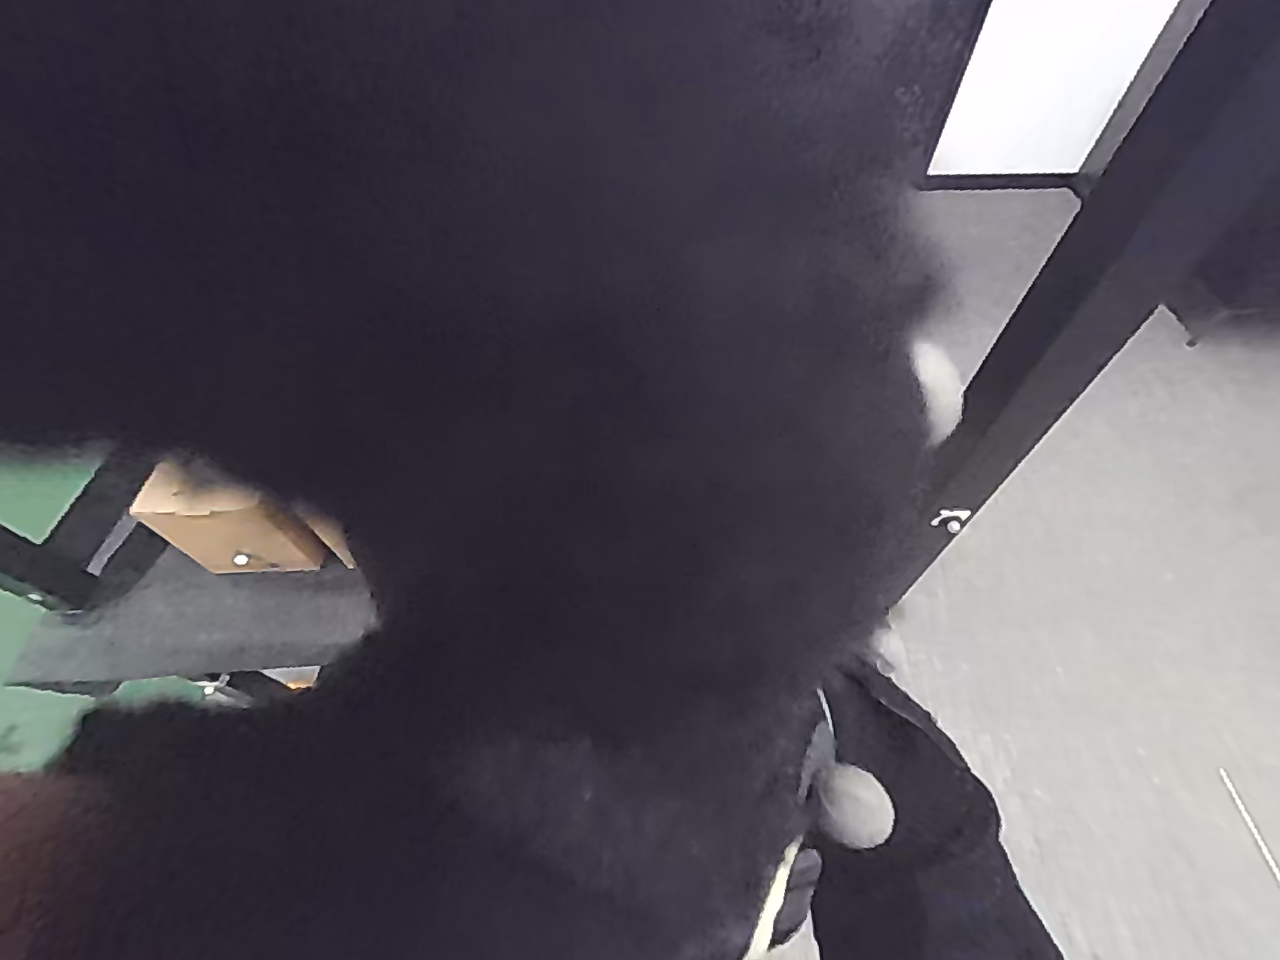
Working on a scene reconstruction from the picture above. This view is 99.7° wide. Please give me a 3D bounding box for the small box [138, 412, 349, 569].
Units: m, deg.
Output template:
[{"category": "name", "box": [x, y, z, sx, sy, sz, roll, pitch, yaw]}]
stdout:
[{"category": "small box", "box": [-0.568, 0.018, 0.810, 0.168, 0.176, 0.179, -1, 53, 0]}]
